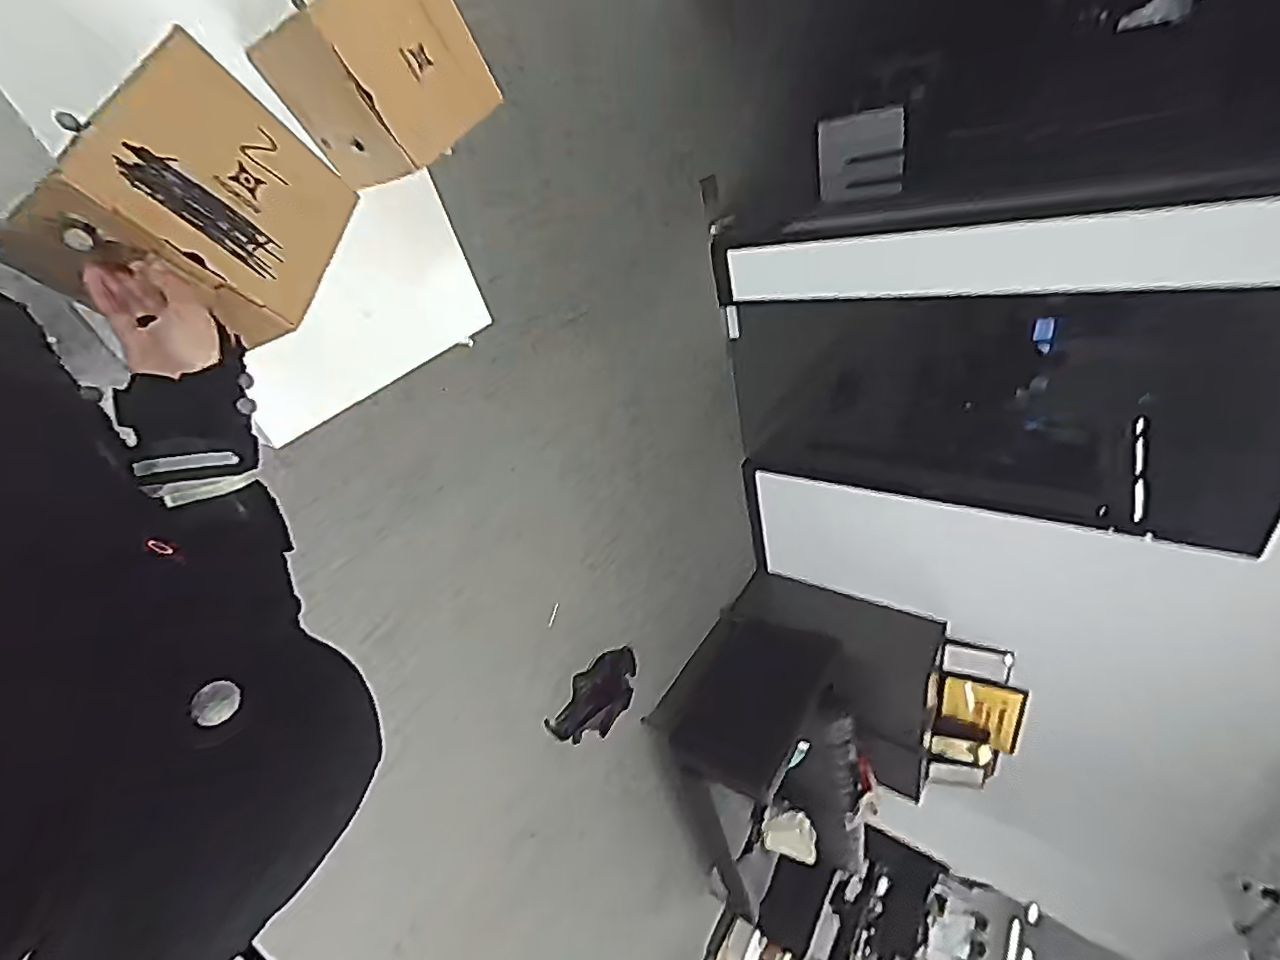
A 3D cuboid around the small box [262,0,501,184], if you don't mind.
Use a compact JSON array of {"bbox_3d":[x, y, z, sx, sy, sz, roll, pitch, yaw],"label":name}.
[{"bbox_3d":[-0.314,-0.489,0.657,0.179,0.176,0.168,-59,142,-23],"label":"small box"}]
